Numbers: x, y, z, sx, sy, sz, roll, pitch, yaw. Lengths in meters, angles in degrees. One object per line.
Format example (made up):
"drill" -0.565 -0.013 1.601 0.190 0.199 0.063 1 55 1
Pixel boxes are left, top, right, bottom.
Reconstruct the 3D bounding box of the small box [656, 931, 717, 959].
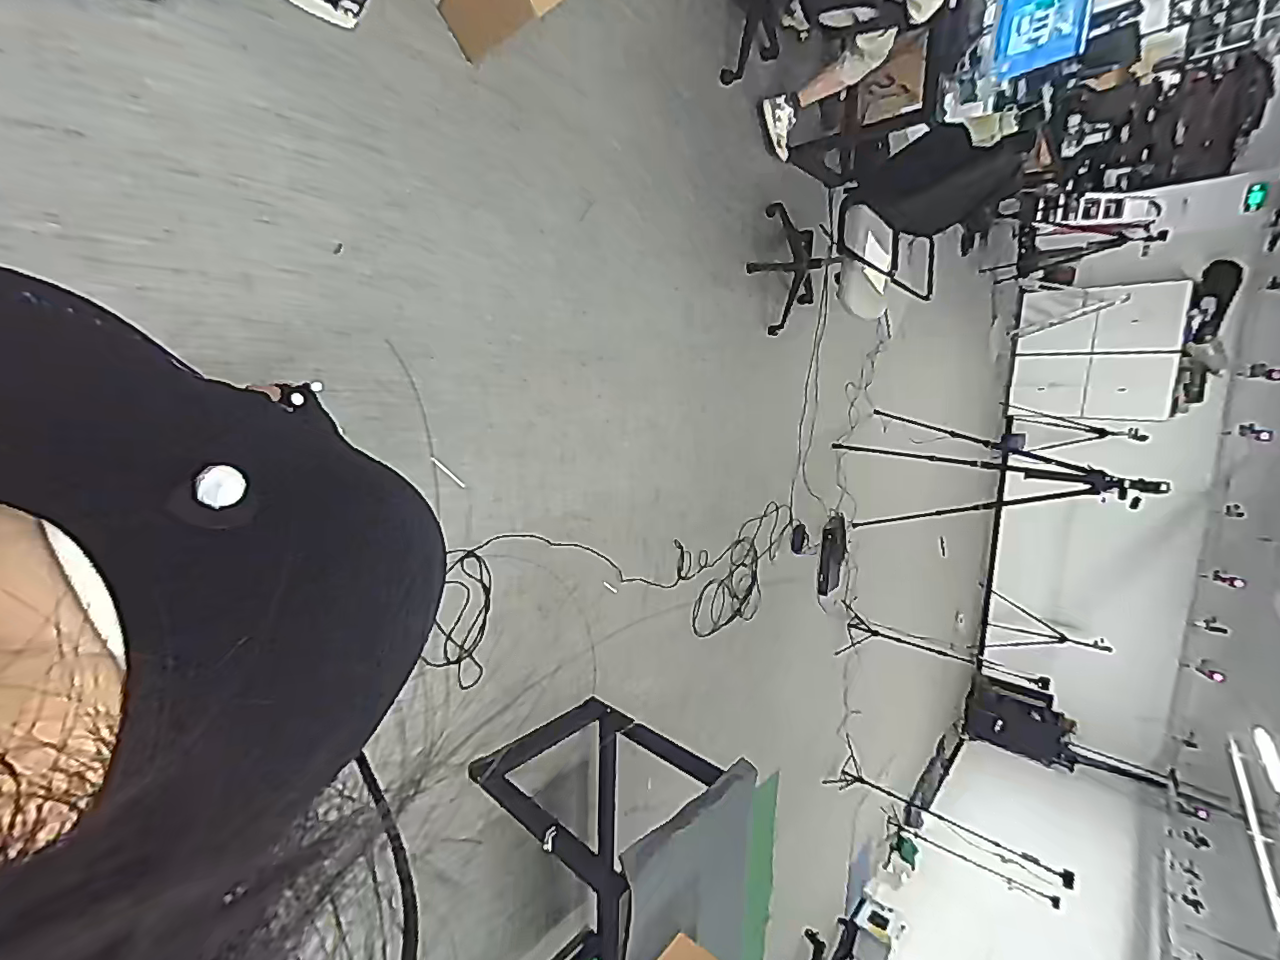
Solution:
"small box" 0.128 1.392 1.461 0.179 0.176 0.168 -9 104 -48
